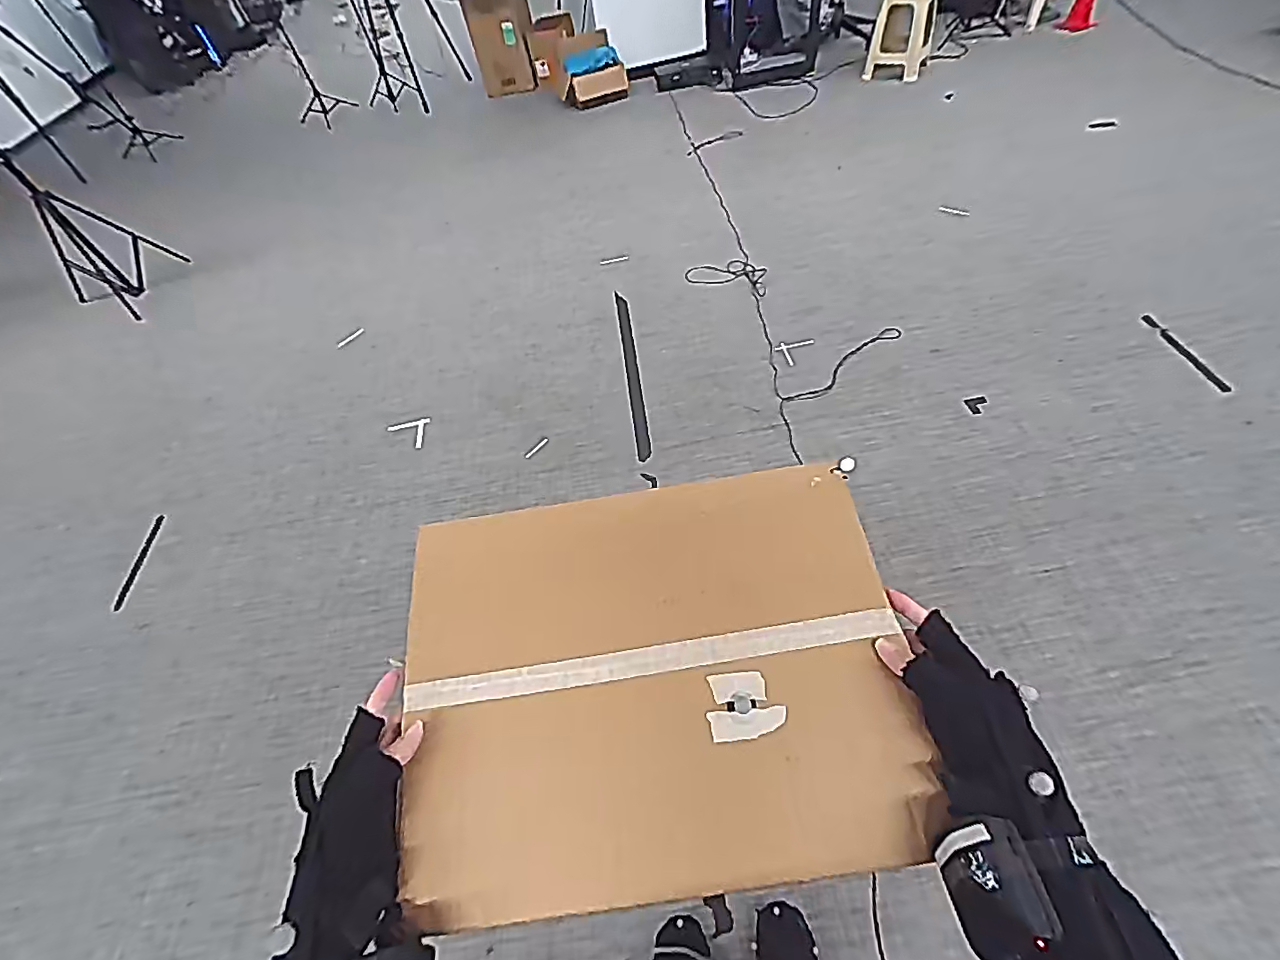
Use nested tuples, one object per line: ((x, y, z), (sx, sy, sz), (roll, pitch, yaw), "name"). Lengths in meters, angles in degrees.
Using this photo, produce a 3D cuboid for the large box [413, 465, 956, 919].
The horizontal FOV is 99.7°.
((0.022, 0.221, 0.585), (0.408, 0.320, 0.320), (-9, 61, 0), "large box")
